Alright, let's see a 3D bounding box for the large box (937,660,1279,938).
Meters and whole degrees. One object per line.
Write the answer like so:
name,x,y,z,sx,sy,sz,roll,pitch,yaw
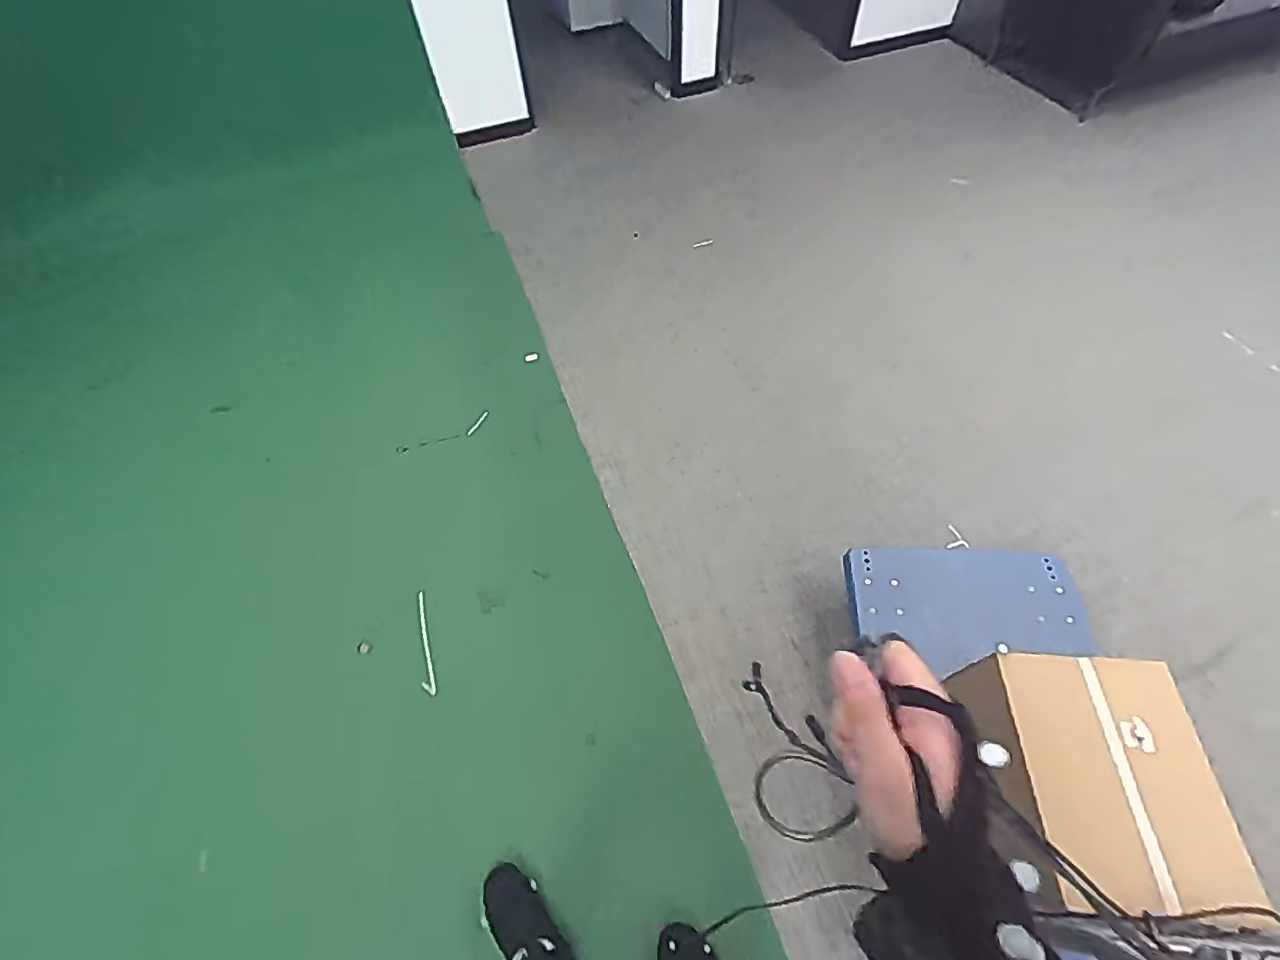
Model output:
large box,0.834,0.600,1.048,0.320,0.320,0.408,3,56,4
